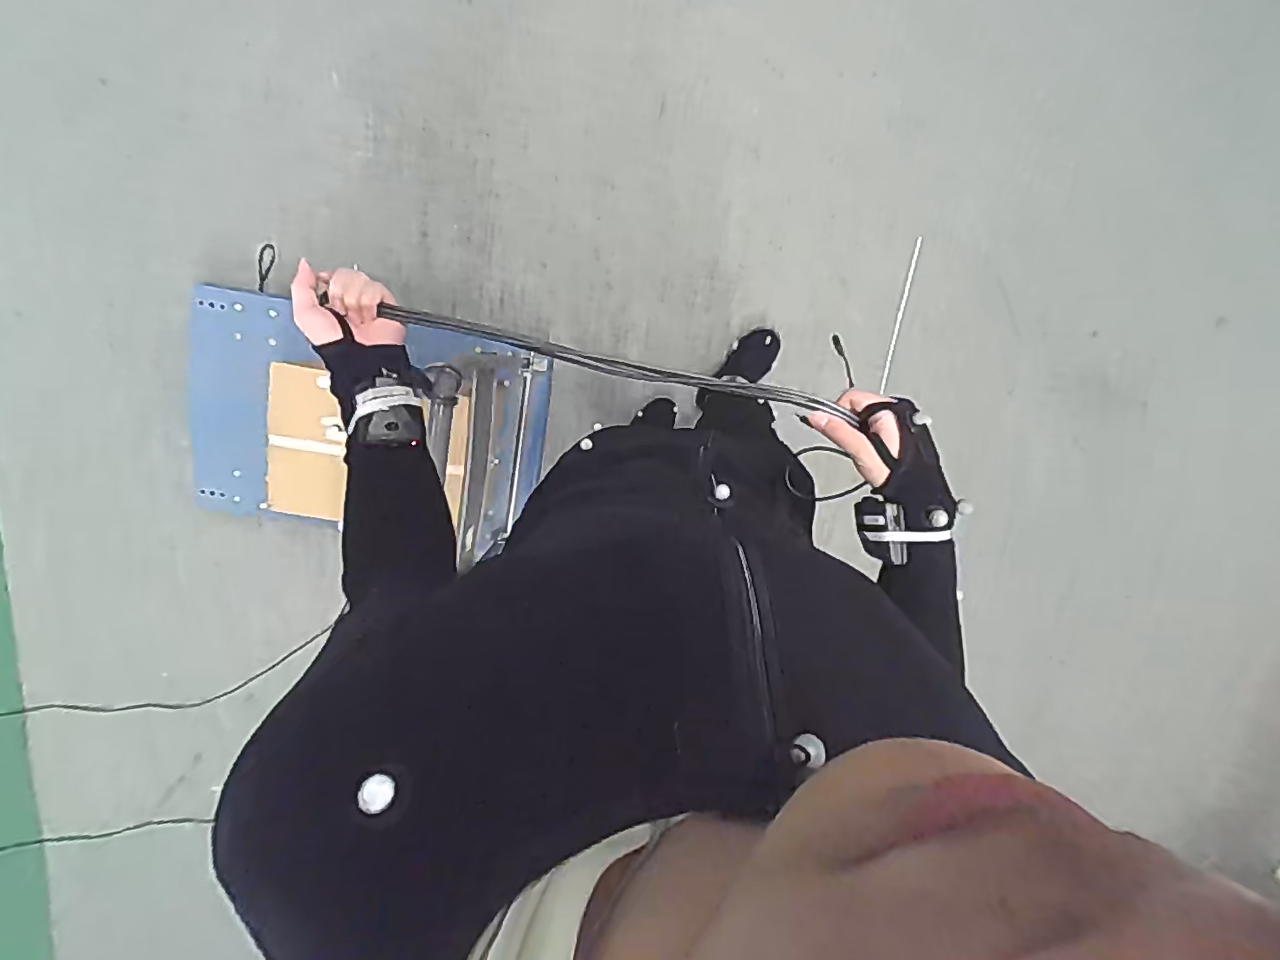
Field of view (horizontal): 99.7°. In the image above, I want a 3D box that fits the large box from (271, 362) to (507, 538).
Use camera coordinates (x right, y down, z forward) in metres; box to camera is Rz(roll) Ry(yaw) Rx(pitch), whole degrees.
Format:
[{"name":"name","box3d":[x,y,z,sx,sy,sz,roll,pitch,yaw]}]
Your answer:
[{"name":"large box","box3d":[-0.547,-0.085,1.244,0.408,0.320,0.320,9,102,-3]}]
